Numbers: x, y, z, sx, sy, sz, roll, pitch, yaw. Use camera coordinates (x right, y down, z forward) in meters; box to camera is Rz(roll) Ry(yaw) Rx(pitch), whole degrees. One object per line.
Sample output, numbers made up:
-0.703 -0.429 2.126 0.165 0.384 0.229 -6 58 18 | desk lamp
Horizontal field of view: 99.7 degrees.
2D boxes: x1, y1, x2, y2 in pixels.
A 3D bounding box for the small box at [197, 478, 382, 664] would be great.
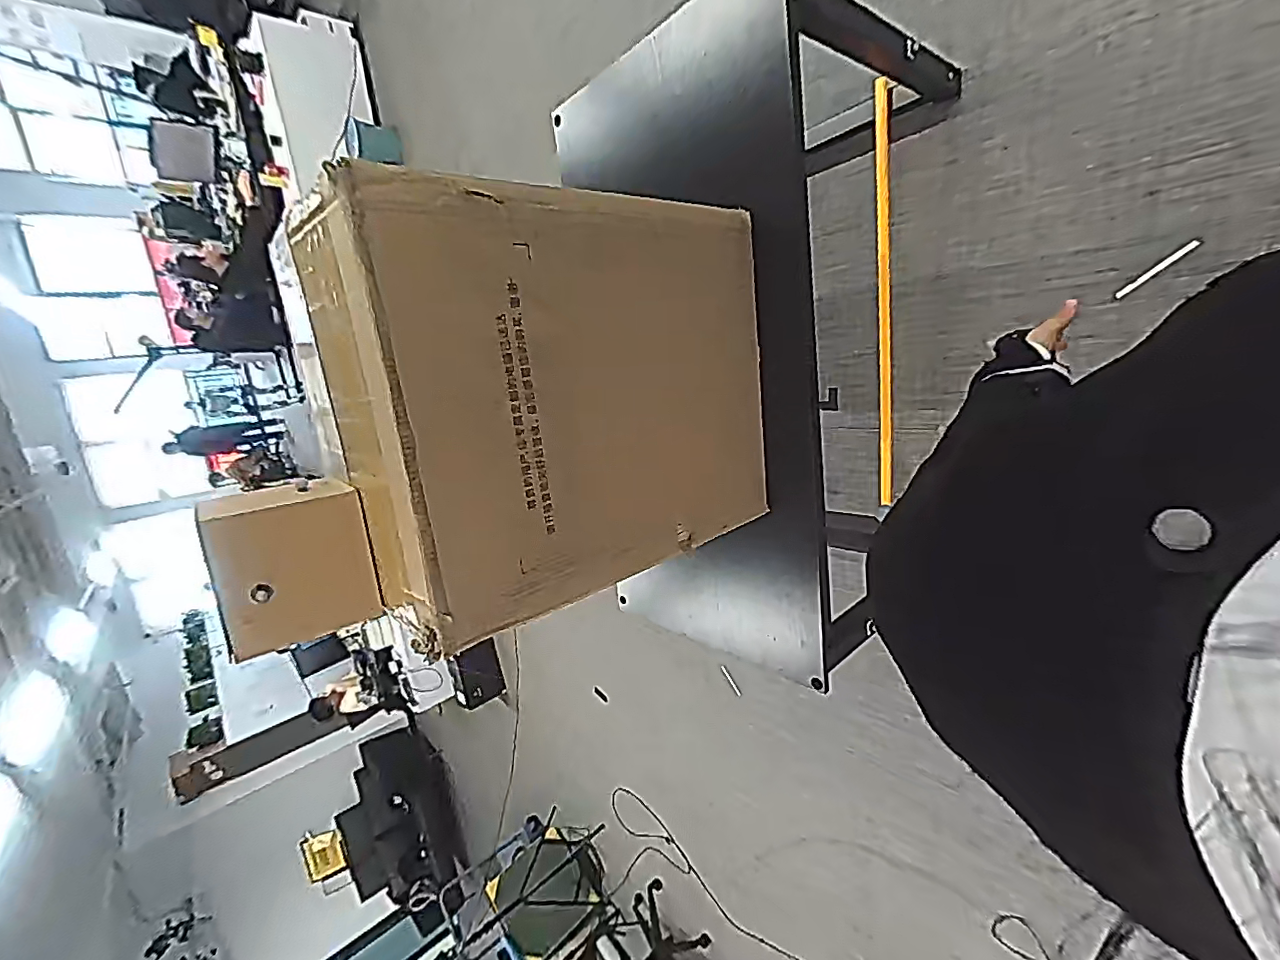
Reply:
-0.460 0.106 0.718 0.168 0.176 0.179 10 109 50 | small box
